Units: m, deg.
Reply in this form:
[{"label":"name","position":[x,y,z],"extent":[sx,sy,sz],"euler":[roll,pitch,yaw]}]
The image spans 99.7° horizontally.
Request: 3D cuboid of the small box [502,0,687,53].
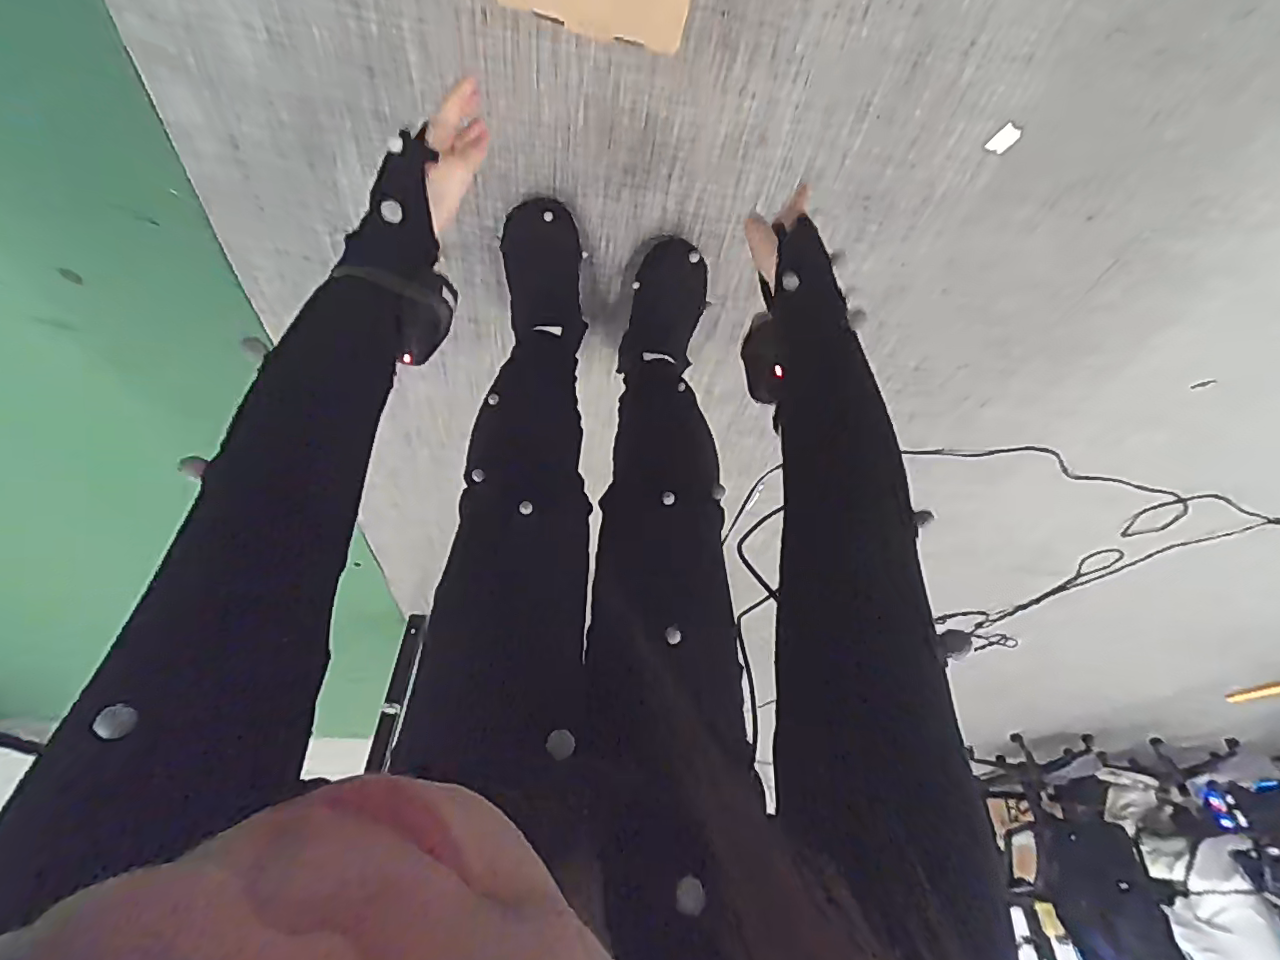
[{"label":"small box","position":[-0.023,-0.512,0.455],"extent":[0.168,0.176,0.179],"euler":[9,143,-9]}]
